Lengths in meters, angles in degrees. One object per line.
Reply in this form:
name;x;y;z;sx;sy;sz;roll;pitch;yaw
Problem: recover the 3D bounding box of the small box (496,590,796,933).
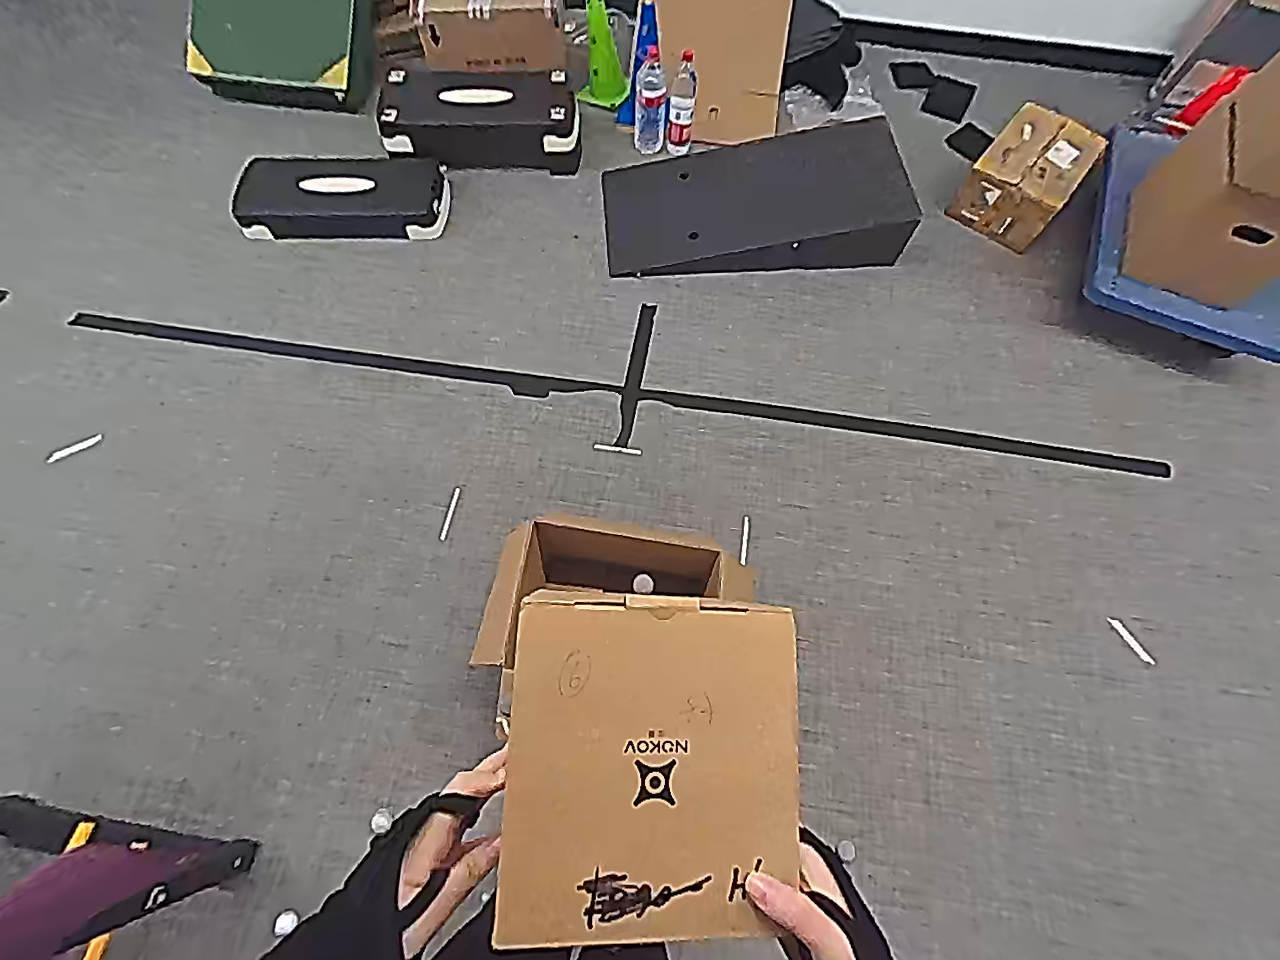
small box;-0.002;0.171;0.385;0.168;0.176;0.179;5;79;-7
